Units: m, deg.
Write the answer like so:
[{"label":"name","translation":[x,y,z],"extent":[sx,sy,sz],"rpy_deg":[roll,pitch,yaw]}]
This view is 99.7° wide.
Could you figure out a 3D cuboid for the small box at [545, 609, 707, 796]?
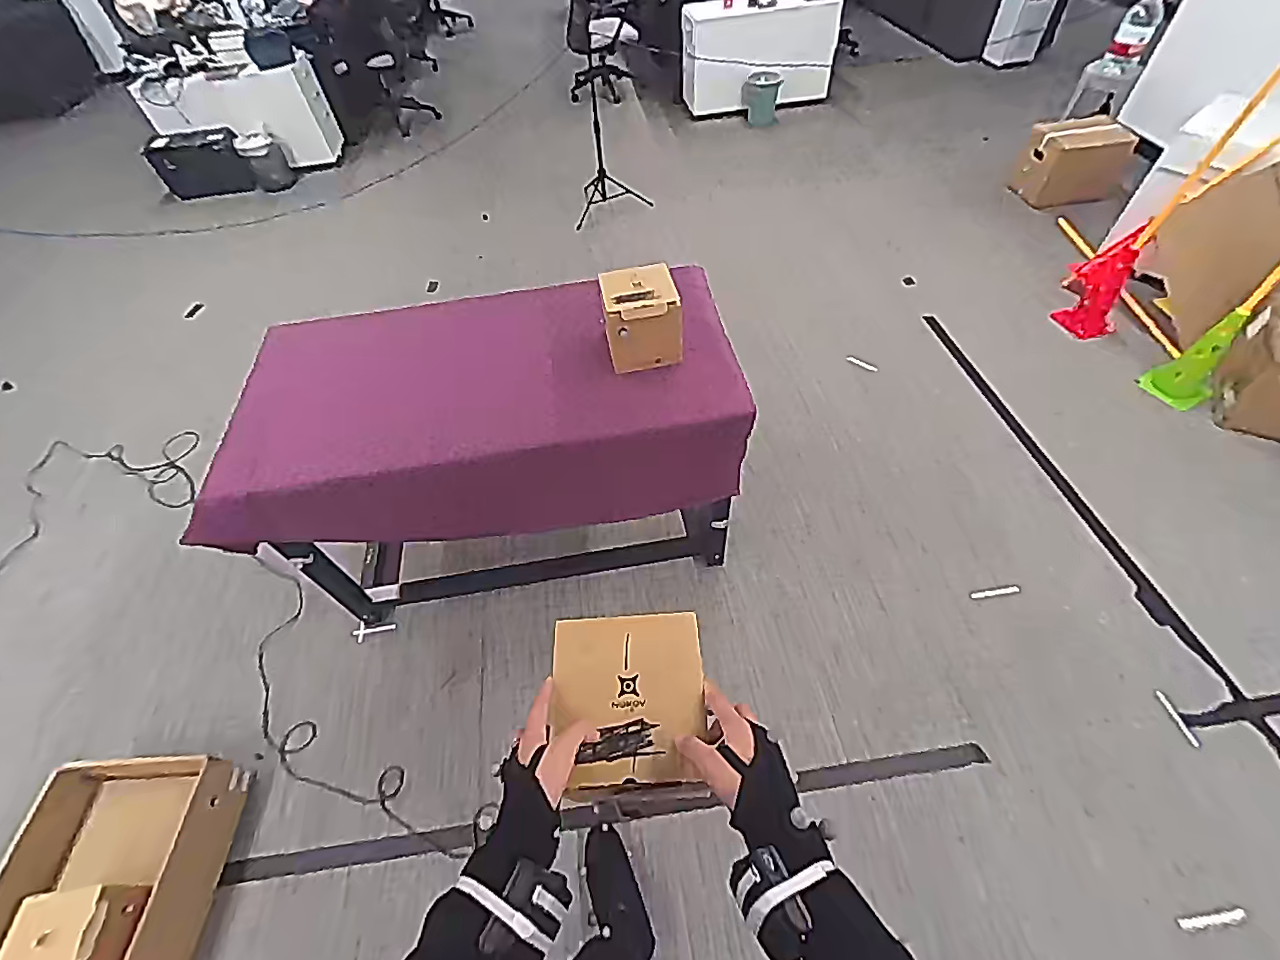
[{"label":"small box","translation":[-0.009,0.270,0.642],"extent":[0.168,0.176,0.179],"rpy_deg":[-4,55,2]}]

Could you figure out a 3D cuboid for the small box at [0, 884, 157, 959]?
[{"label":"small box","translation":[-1.232,0.999,1.185],"extent":[0.179,0.176,0.168],"rpy_deg":[-8,50,-2]}]
